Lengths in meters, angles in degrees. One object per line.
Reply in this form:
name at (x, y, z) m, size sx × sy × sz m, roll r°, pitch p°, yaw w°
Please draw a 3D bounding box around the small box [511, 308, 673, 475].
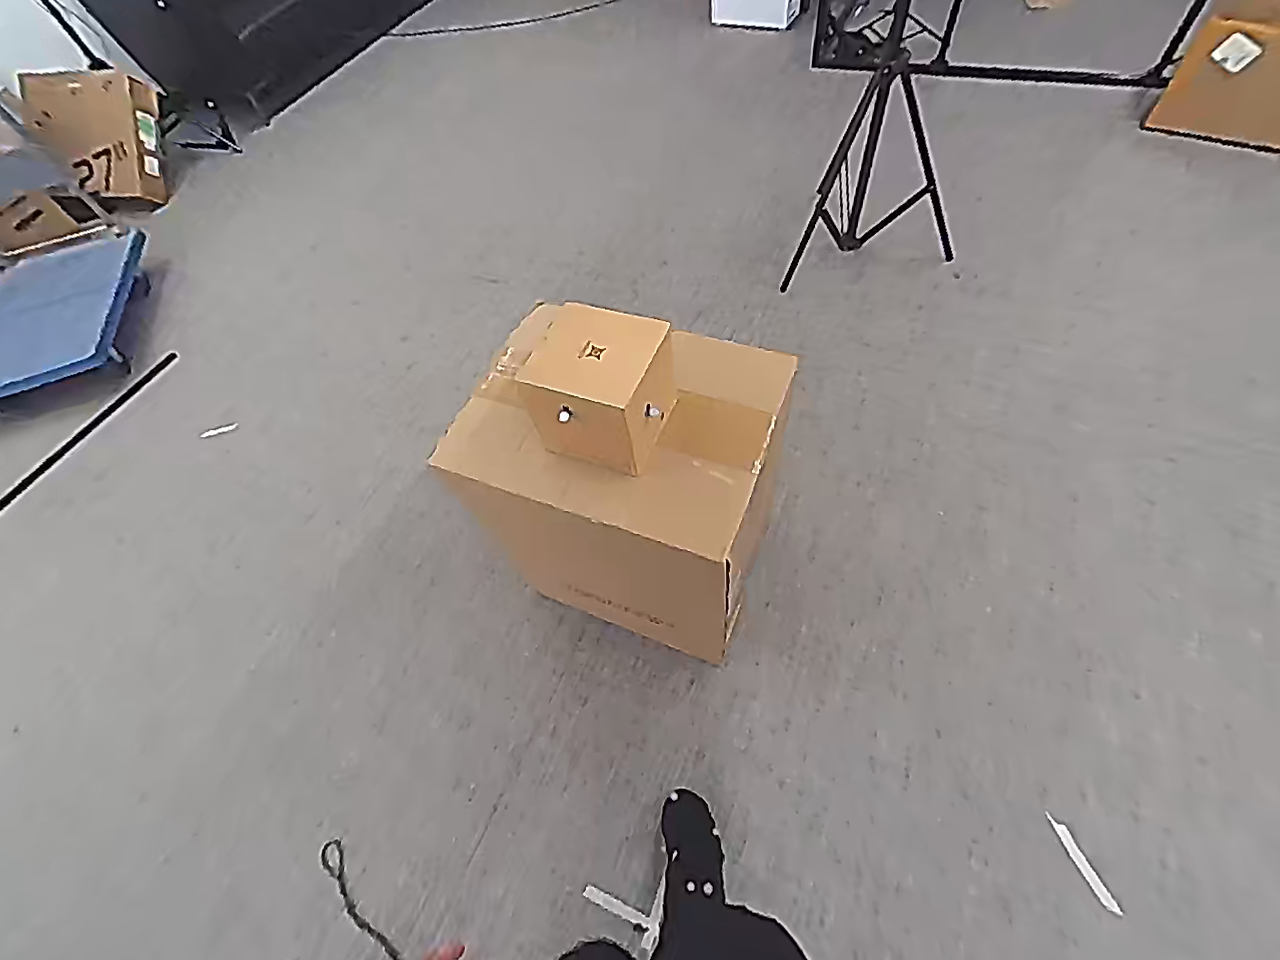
small box at (-0.059, -0.128, 0.823) m, size 0.179 × 0.176 × 0.168 m, roll 17°, pitch 62°, yaw 18°
